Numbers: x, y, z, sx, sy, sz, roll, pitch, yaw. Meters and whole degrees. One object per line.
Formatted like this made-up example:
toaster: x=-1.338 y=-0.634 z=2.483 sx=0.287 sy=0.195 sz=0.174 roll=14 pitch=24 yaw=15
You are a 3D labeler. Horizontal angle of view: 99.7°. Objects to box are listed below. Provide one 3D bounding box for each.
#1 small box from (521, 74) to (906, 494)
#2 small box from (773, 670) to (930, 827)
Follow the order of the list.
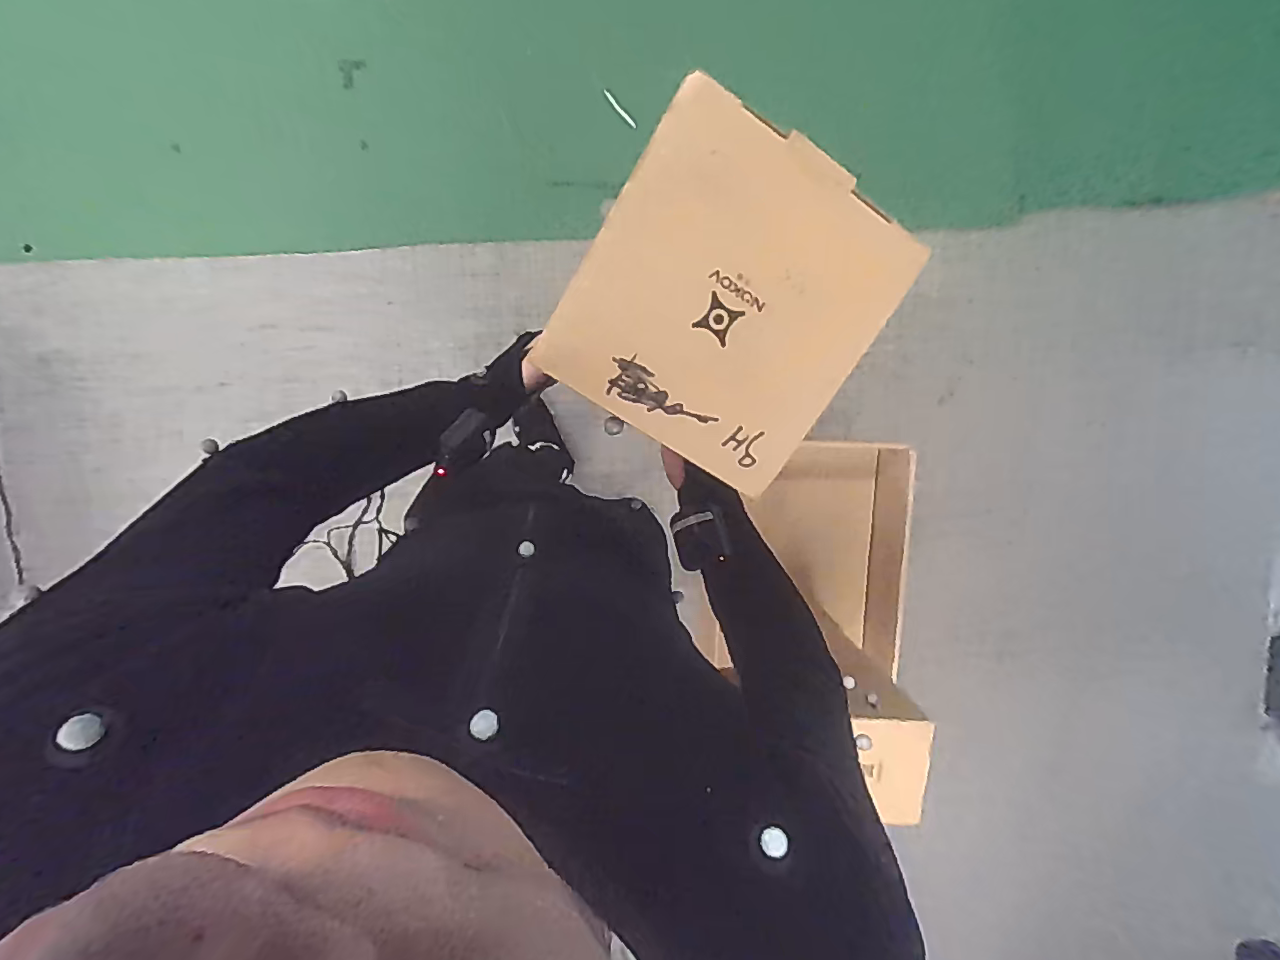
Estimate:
small box: x=0.036 y=-0.122 z=0.387 sx=0.168 sy=0.176 sz=0.179 roll=30 pitch=101 yaw=-10
small box: x=0.327 y=0.421 z=0.873 sx=0.179 sy=0.176 sz=0.168 roll=4 pitch=96 yaw=-4
